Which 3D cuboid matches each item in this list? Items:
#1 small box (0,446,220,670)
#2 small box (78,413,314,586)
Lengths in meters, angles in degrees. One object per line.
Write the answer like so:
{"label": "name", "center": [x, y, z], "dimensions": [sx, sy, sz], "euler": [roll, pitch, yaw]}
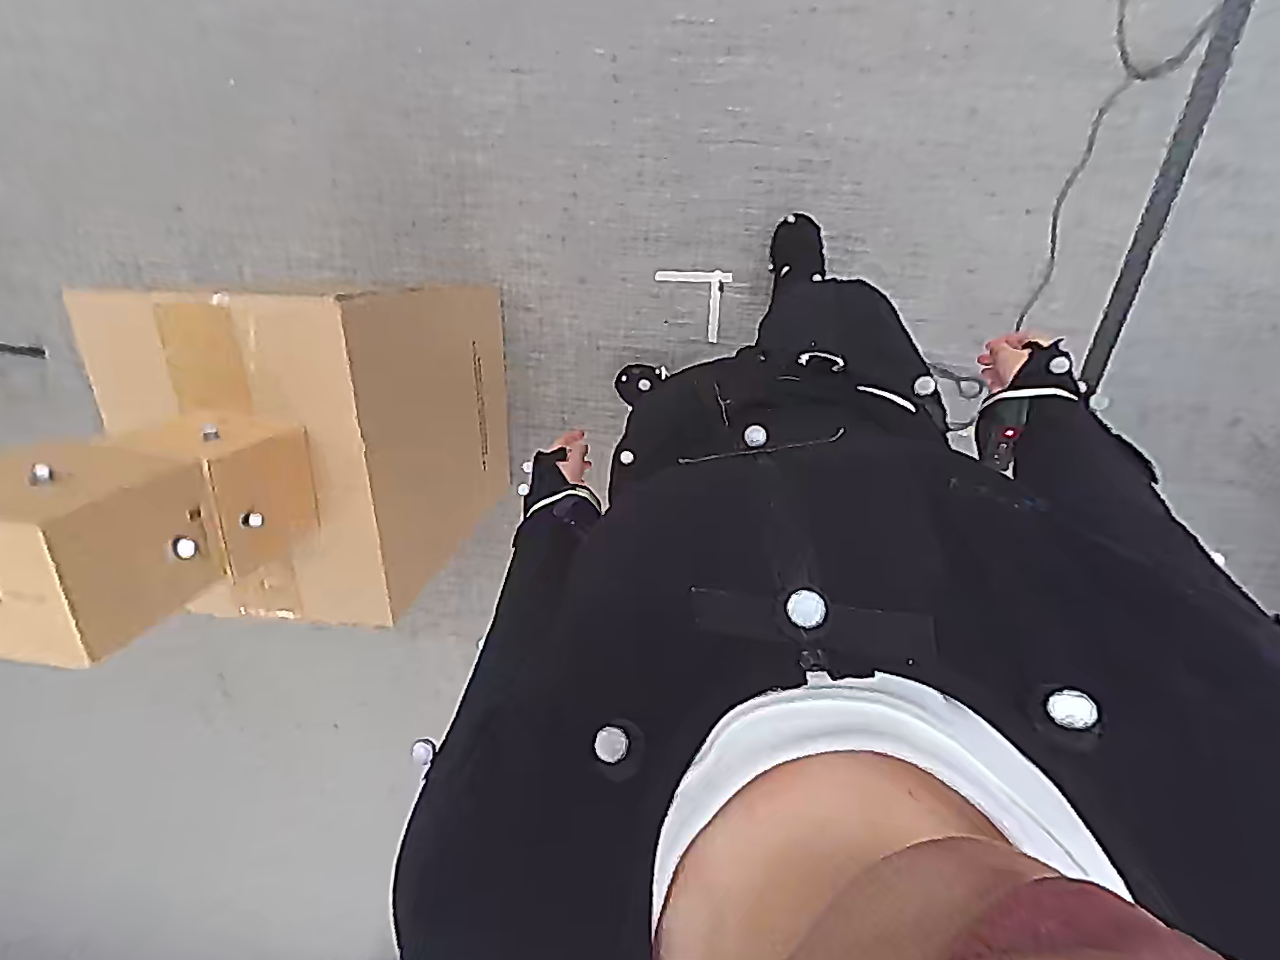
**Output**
{"label": "small box", "center": [-0.608, 0.071, 0.578], "dimensions": [0.179, 0.176, 0.168], "euler": [7, 113, 2]}
{"label": "small box", "center": [-0.579, 0.017, 0.732], "dimensions": [0.168, 0.176, 0.179], "euler": [7, 113, 3]}
